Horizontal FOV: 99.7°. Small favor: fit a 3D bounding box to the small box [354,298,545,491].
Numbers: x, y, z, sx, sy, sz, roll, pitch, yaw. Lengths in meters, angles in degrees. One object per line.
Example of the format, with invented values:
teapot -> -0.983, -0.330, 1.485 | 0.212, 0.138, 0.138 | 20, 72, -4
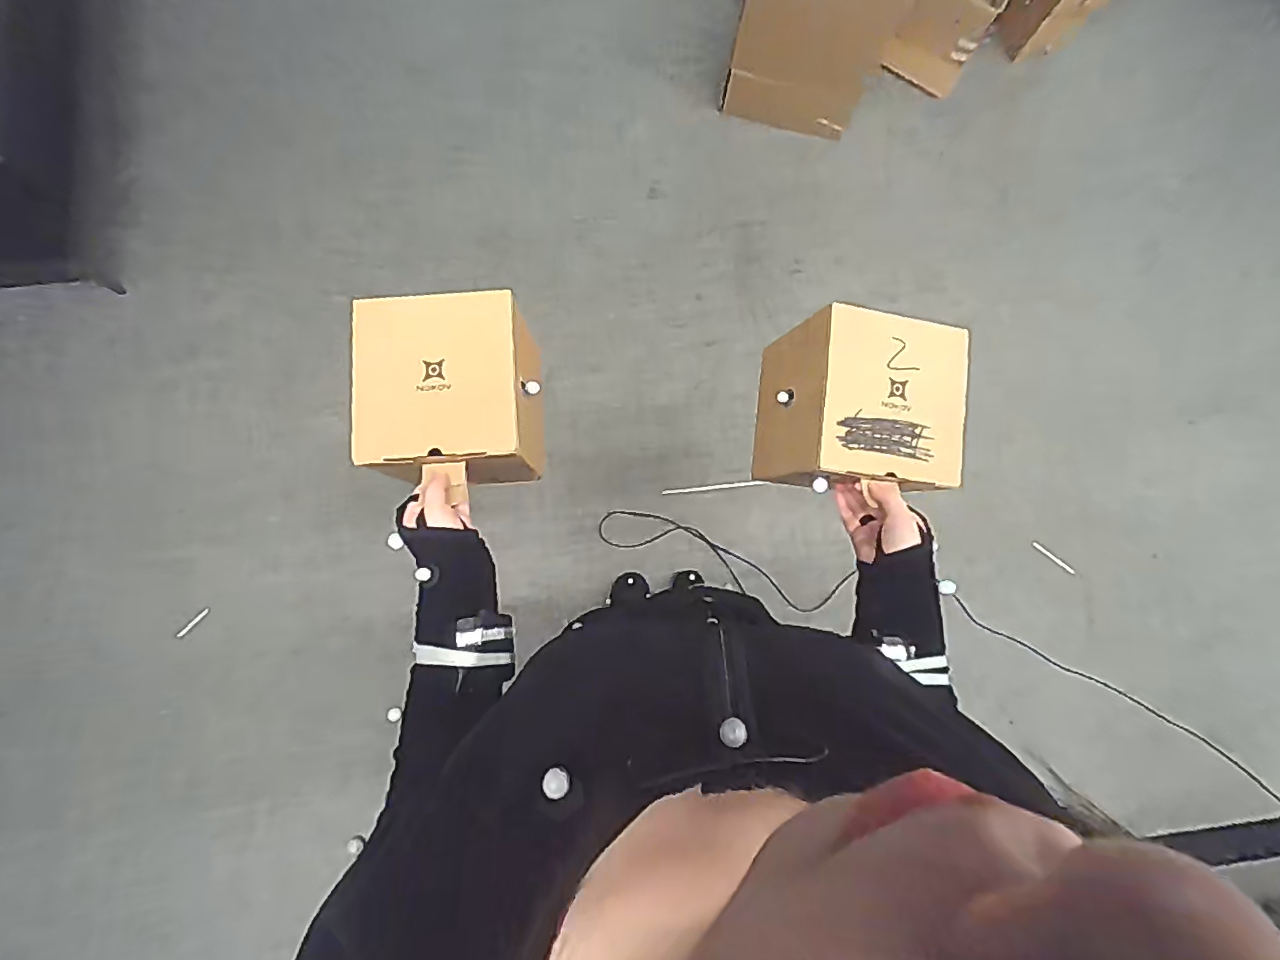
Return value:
small box -> -0.205, -0.088, 0.625 | 0.168, 0.176, 0.179 | -4, 81, -1
